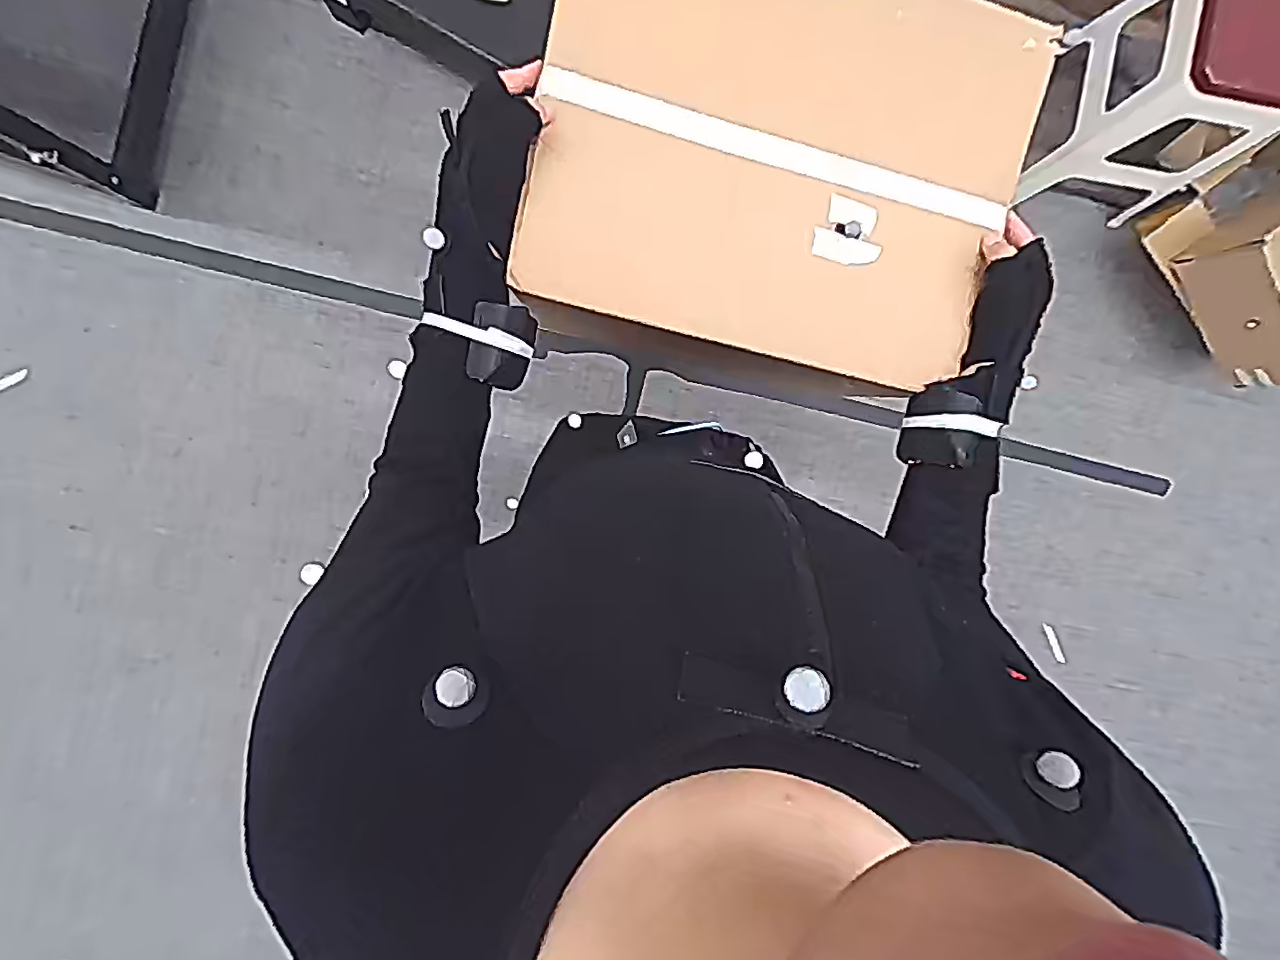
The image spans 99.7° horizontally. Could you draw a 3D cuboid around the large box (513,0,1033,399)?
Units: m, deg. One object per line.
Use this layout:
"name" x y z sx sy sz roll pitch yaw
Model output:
"large box" 0.098 -0.285 0.603 0.408 0.320 0.320 12 99 -9
